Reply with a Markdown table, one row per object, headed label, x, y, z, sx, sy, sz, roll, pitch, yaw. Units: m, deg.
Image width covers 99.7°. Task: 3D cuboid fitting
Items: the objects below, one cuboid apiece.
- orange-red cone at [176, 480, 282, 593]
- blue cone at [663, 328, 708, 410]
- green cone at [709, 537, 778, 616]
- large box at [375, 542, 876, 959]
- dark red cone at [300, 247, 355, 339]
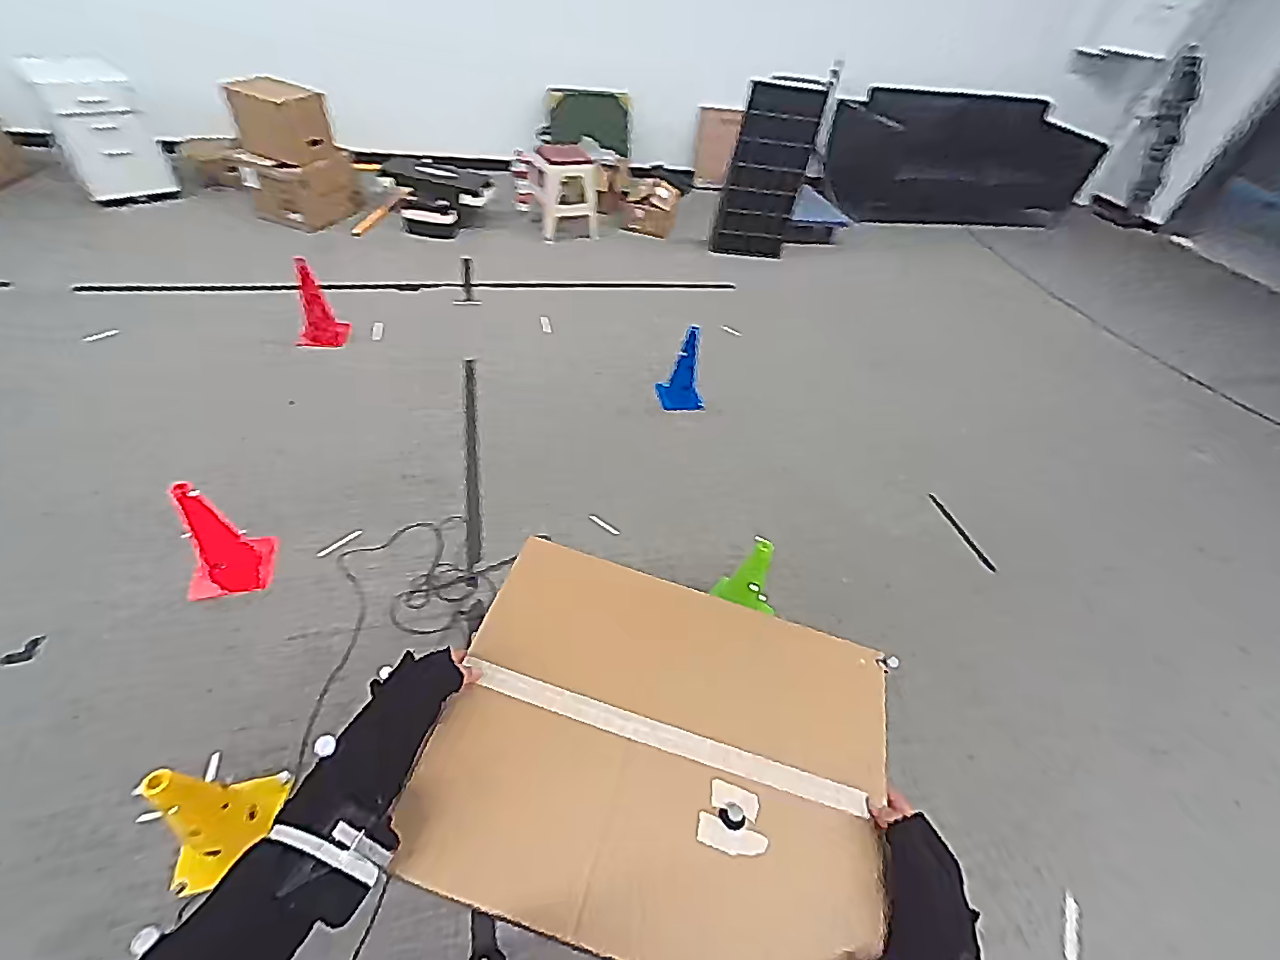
| label | x | y | z | sx | sy | sz | roll | pitch | yaw |
| --- | --- | --- | --- | --- | --- | --- | --- | --- | --- |
| orange-red cone | -1.187 | 0.133 | 1.514 | 0.198 | 0.360 | 0.199 | -7 | 49 | -15 |
| blue cone | 0.230 | -0.502 | 2.403 | 0.192 | 0.380 | 0.193 | -1 | 47 | -13 |
| green cone | 0.338 | 0.301 | 1.613 | 0.200 | 0.368 | 0.202 | 35 | 49 | 21 |
| large box | -0.004 | 0.326 | 0.612 | 0.408 | 0.320 | 0.320 | 17 | 50 | 3 |
| dark red cone | -1.410 | -0.820 | 2.371 | 0.201 | 0.394 | 0.202 | 0 | 46 | -11 |
